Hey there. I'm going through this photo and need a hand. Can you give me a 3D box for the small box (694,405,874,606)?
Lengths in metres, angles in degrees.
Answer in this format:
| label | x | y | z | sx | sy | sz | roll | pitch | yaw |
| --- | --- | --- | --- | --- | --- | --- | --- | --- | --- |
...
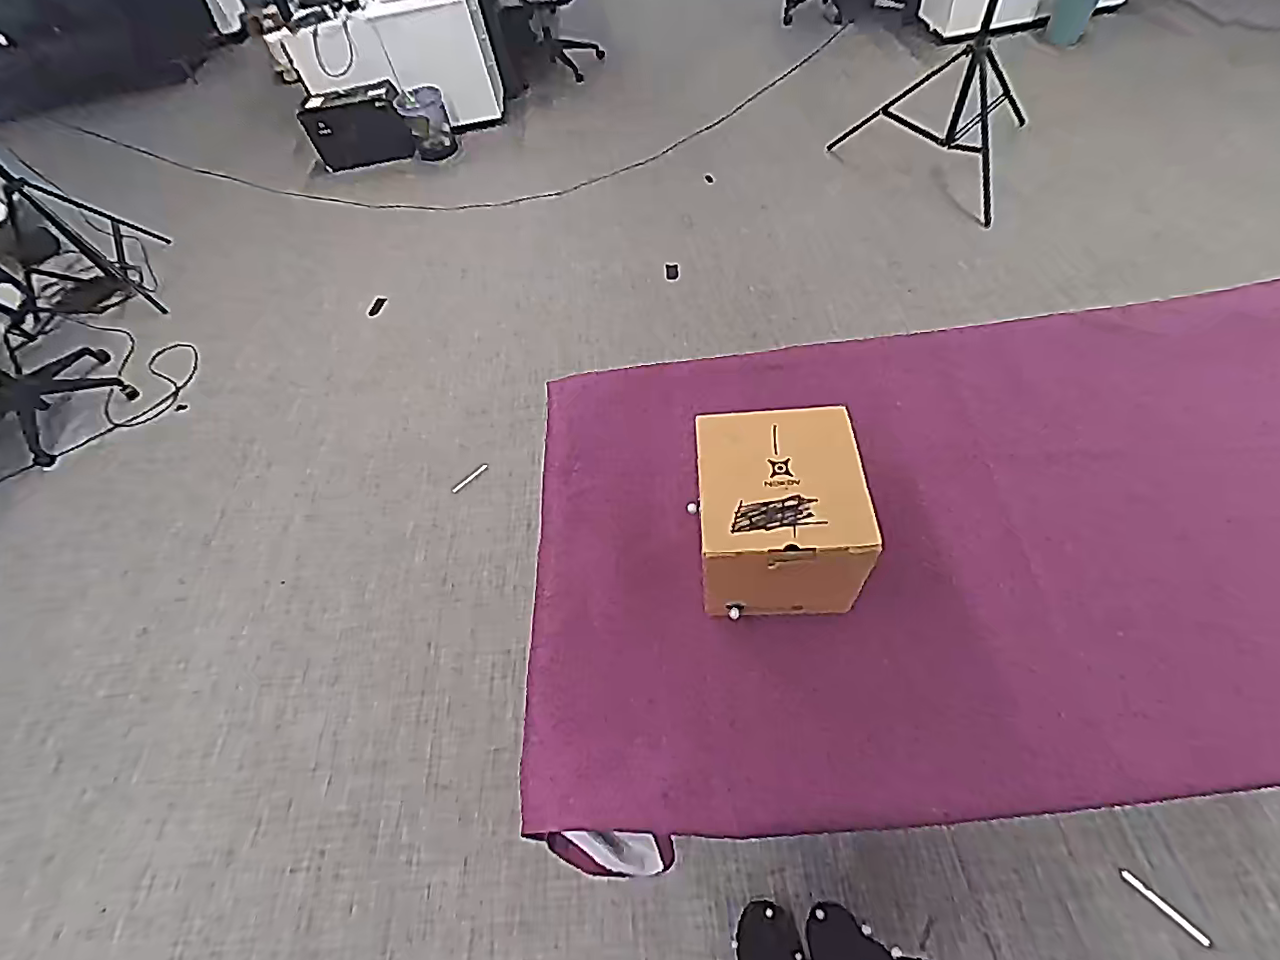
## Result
| label | x | y | z | sx | sy | sz | roll | pitch | yaw |
| --- | --- | --- | --- | --- | --- | --- | --- | --- | --- |
| small box | 0.150 | 0.038 | 0.621 | 0.168 | 0.176 | 0.179 | -3 | 55 | 6 |
